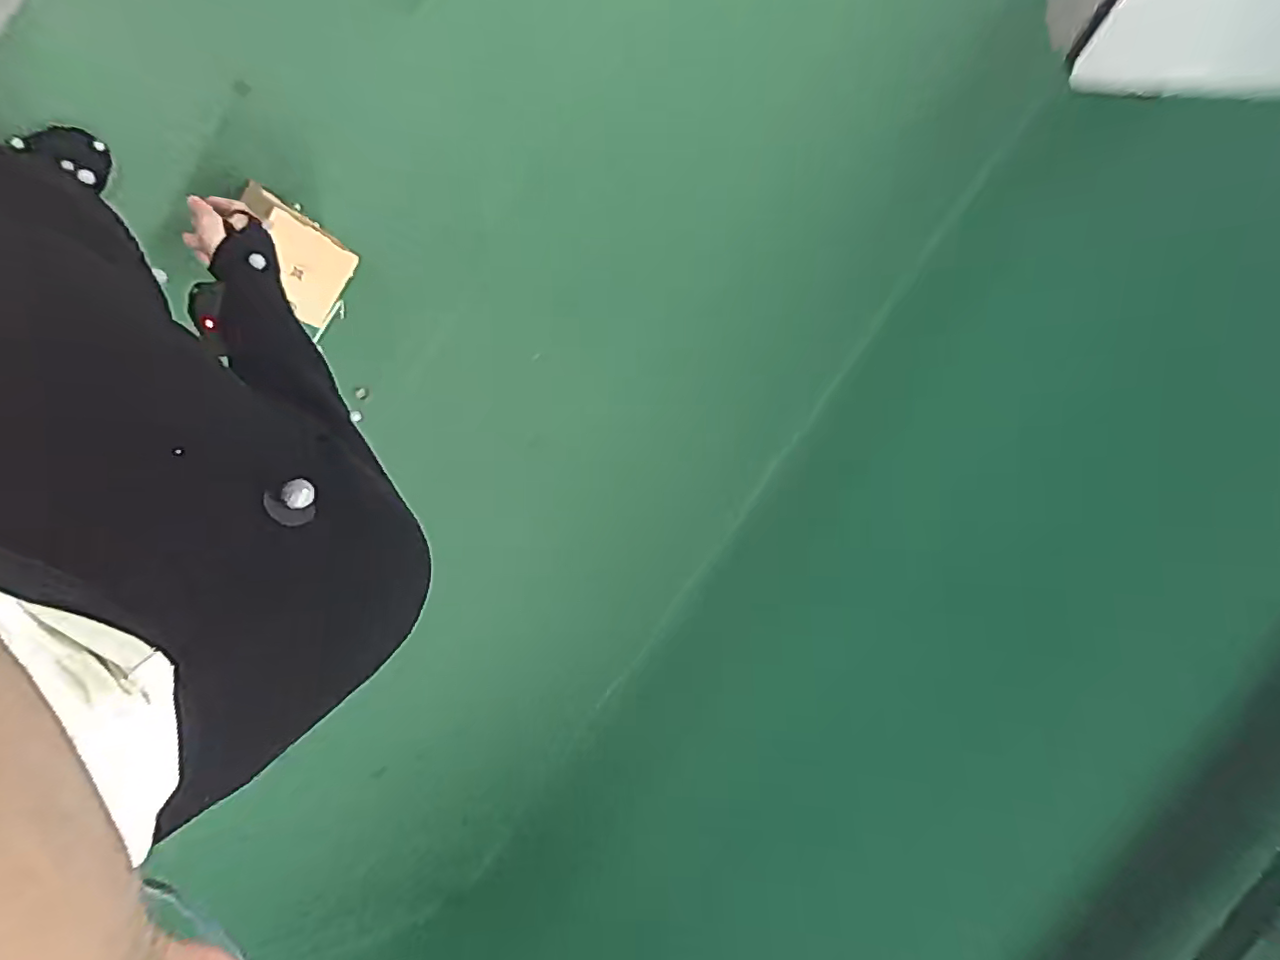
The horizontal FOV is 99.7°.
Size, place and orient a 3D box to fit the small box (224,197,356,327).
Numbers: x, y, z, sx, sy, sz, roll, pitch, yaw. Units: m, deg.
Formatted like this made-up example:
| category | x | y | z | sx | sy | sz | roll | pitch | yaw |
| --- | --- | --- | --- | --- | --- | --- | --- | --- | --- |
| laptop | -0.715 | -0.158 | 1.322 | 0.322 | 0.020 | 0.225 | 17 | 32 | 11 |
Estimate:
| category | x | y | z | sx | sy | sz | roll | pitch | yaw |
| --- | --- | --- | --- | --- | --- | --- | --- | --- | --- |
| small box | -0.731 | -0.453 | 1.124 | 0.168 | 0.176 | 0.179 | 28 | 97 | -50 |

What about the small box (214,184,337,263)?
| category | x | y | z | sx | sy | sz | roll | pitch | yaw |
| --- | --- | --- | --- | --- | --- | --- | --- | --- | --- |
| small box | -0.829 | -0.536 | 1.225 | 0.179 | 0.176 | 0.168 | -55 | 141 | 2 |
